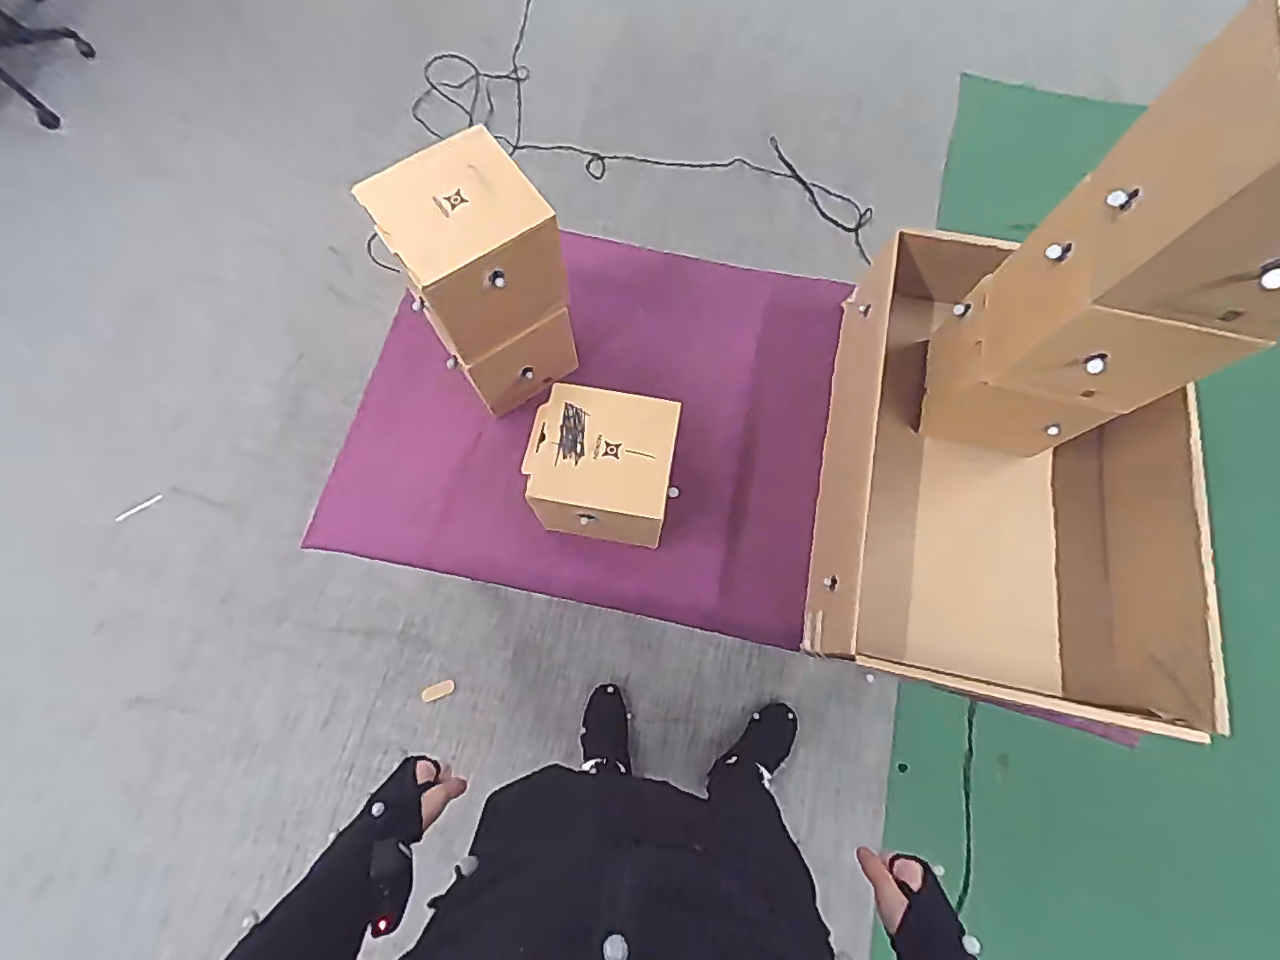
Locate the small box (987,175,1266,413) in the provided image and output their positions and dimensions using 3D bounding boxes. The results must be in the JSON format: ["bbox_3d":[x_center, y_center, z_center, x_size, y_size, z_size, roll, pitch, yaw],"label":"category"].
[{"bbox_3d":[0.523,-0.195,0.607,0.168,0.176,0.179,14,73,5],"label":"small box"}]

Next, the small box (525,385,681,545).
[{"bbox_3d":[-0.045,-0.013,0.769,0.179,0.176,0.168,10,71,2],"label":"small box"}]

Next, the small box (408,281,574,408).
[{"bbox_3d":[-0.218,-0.234,0.839,0.168,0.176,0.179,-34,76,-11],"label":"small box"}]

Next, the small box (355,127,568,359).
[{"bbox_3d":[-0.210,-0.287,0.685,0.179,0.176,0.168,-34,77,-11],"label":"small box"}]

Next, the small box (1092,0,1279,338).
[{"bbox_3d":[0.523,-0.245,0.451,0.168,0.176,0.179,14,74,5],"label":"small box"}]
